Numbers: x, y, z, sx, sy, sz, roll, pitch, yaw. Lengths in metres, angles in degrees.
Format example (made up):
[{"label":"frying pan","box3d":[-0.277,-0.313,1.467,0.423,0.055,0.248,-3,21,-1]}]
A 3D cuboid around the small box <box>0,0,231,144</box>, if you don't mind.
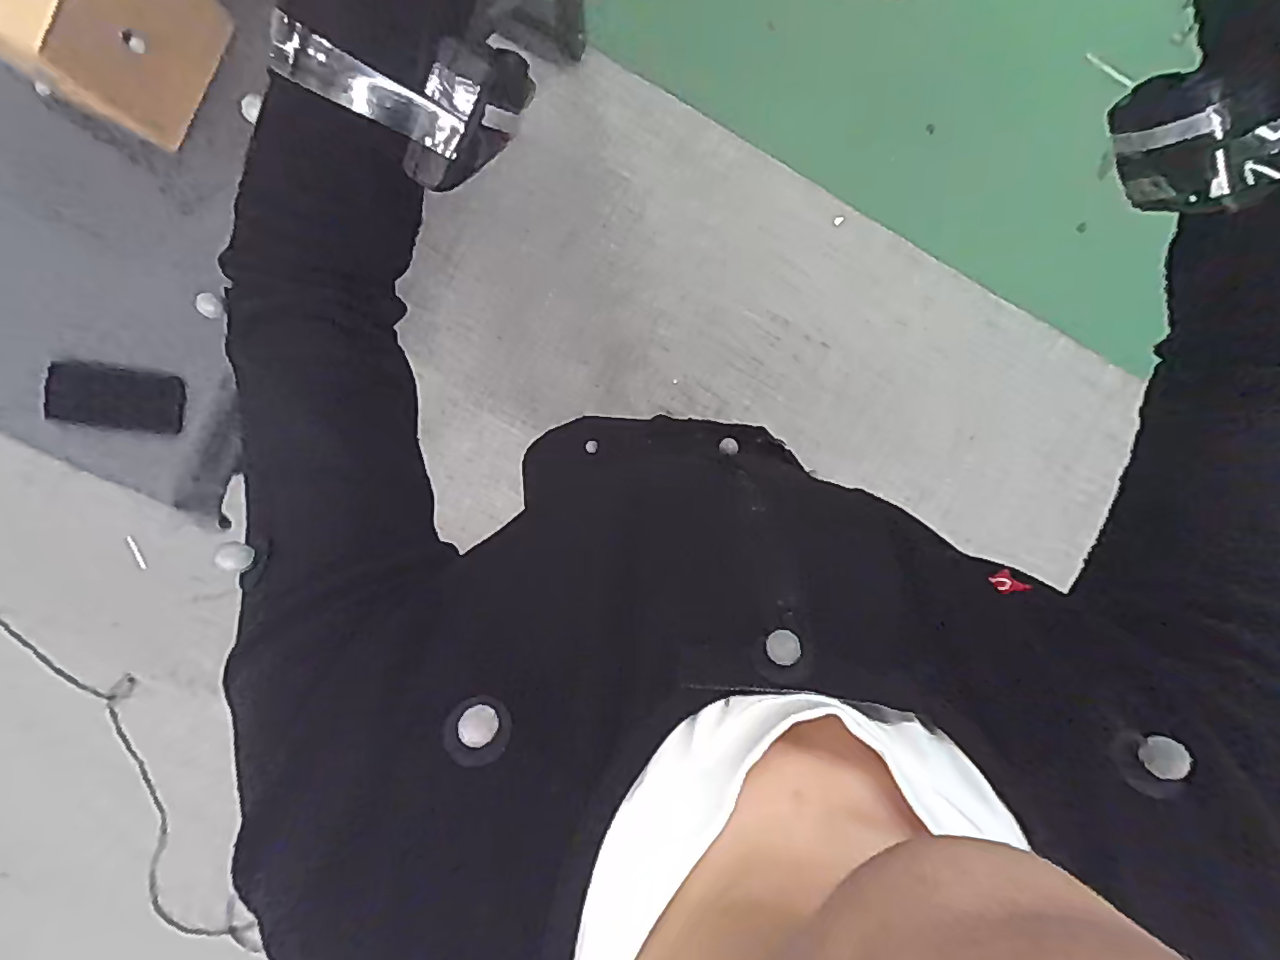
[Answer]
[{"label":"small box","box3d":[-0.587,-0.506,0.570,0.168,0.176,0.179,26,92,-6]}]
